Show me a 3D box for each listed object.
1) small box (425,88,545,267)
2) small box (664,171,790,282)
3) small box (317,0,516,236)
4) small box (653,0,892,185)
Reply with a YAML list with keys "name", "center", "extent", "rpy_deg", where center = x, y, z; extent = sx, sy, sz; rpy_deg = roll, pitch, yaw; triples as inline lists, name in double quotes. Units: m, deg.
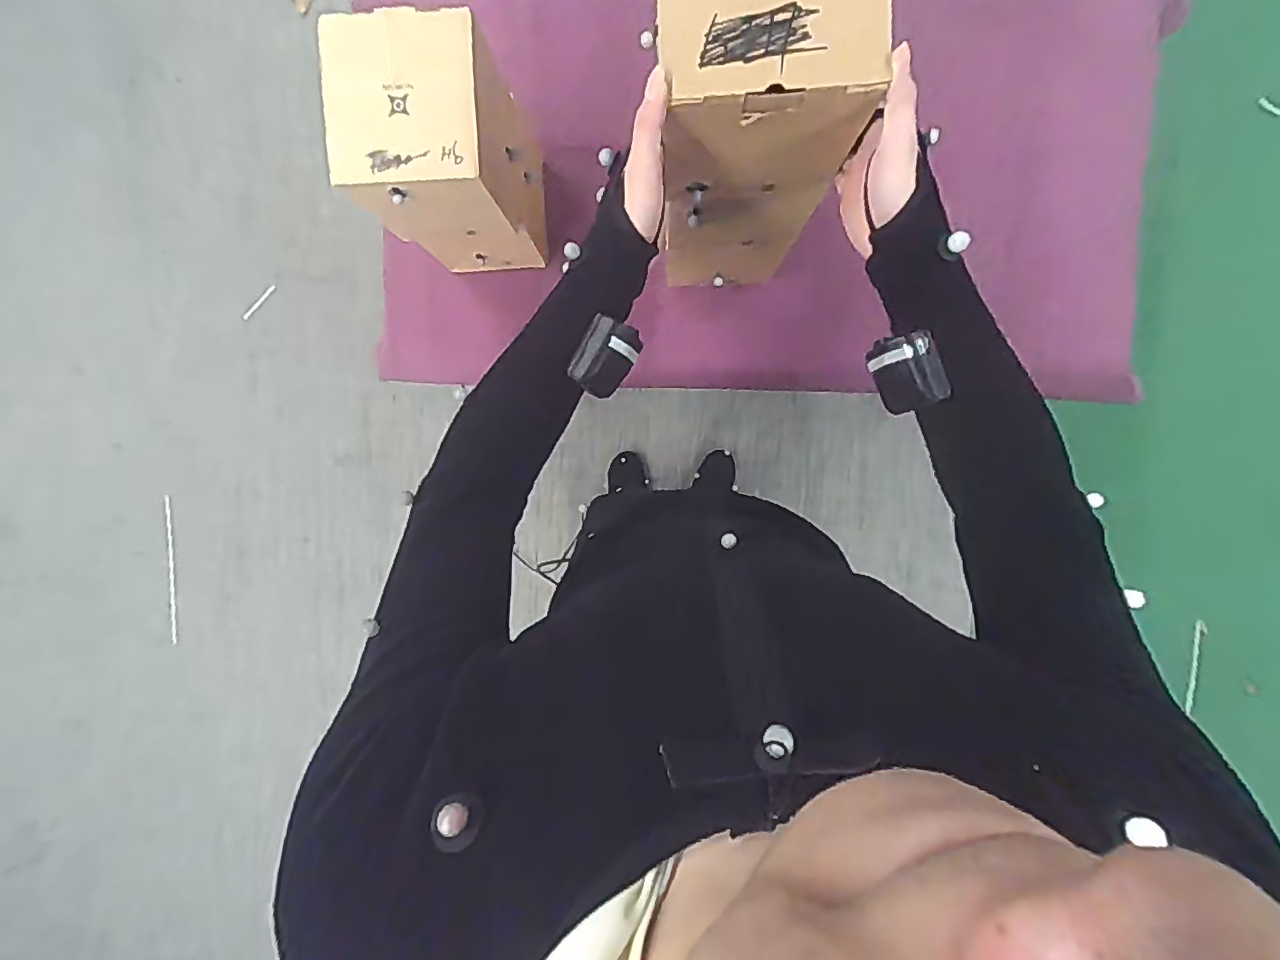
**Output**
- name: "small box"
  center: [-0.243, -0.438, 0.807]
  extent: [0.168, 0.176, 0.179]
  rpy_deg: [-3, 94, 3]
- name: "small box"
  center: [0.119, -0.404, 0.790]
  extent: [0.168, 0.176, 0.179]
  rpy_deg: [0, 94, 4]
- name: "small box"
  center: [-0.251, -0.414, 0.645]
  extent: [0.168, 0.176, 0.179]
  rpy_deg: [-1, 94, 3]
- name: "small box"
  center: [0.096, -0.369, 0.452]
  extent: [0.168, 0.176, 0.179]
  rpy_deg: [-2, 93, 3]
